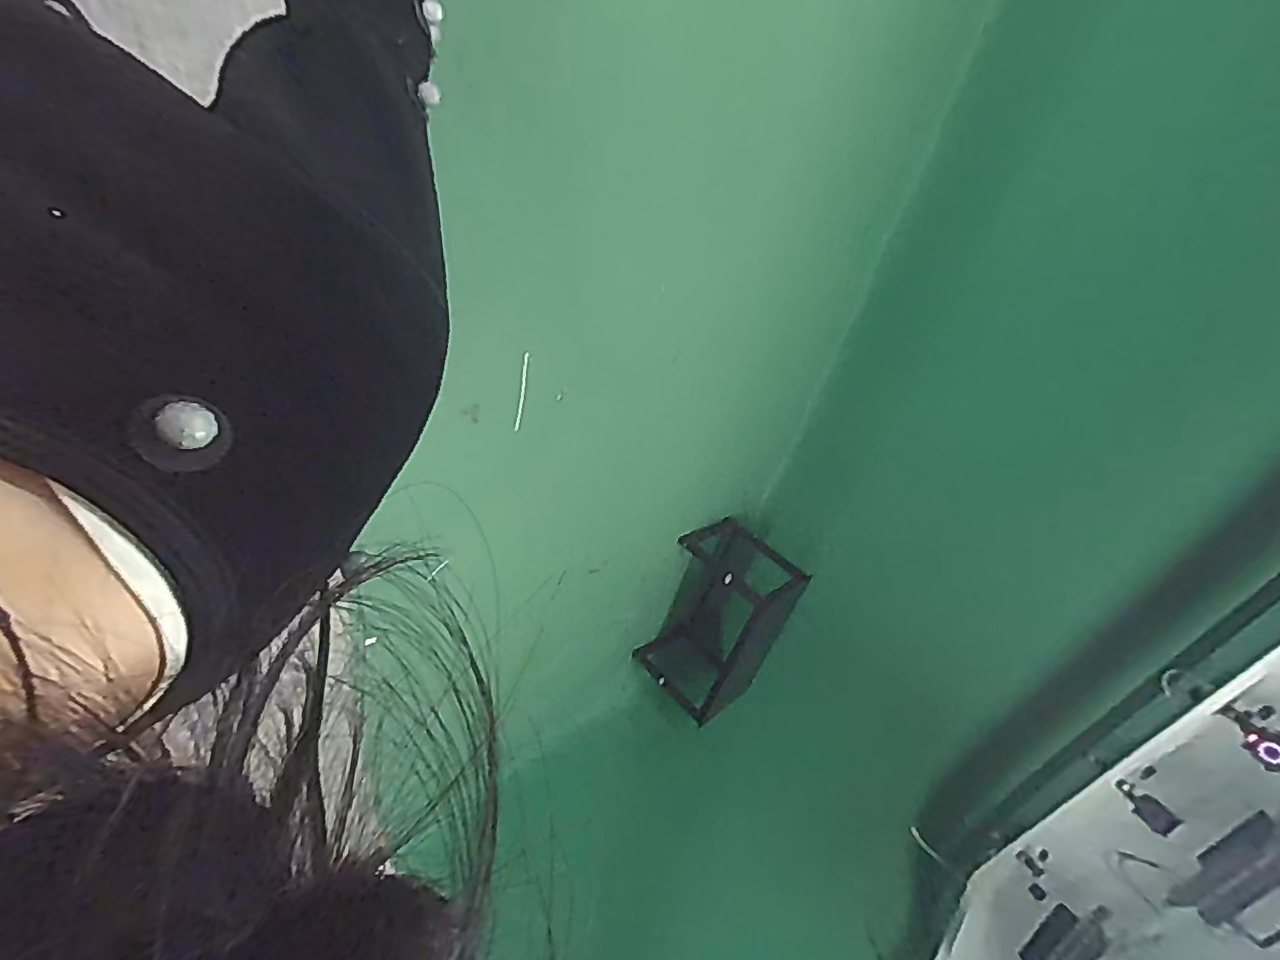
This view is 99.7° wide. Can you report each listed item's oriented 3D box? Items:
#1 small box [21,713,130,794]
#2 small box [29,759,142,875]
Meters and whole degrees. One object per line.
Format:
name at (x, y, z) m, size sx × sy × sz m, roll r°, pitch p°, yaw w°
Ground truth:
small box at (-1.567, 0.781, 1.501) m, size 0.168 × 0.176 × 0.179 m, roll -20°, pitch 138°, yaw -40°
small box at (-1.456, 0.874, 1.421) m, size 0.168 × 0.176 × 0.179 m, roll -19°, pitch 137°, yaw -40°
